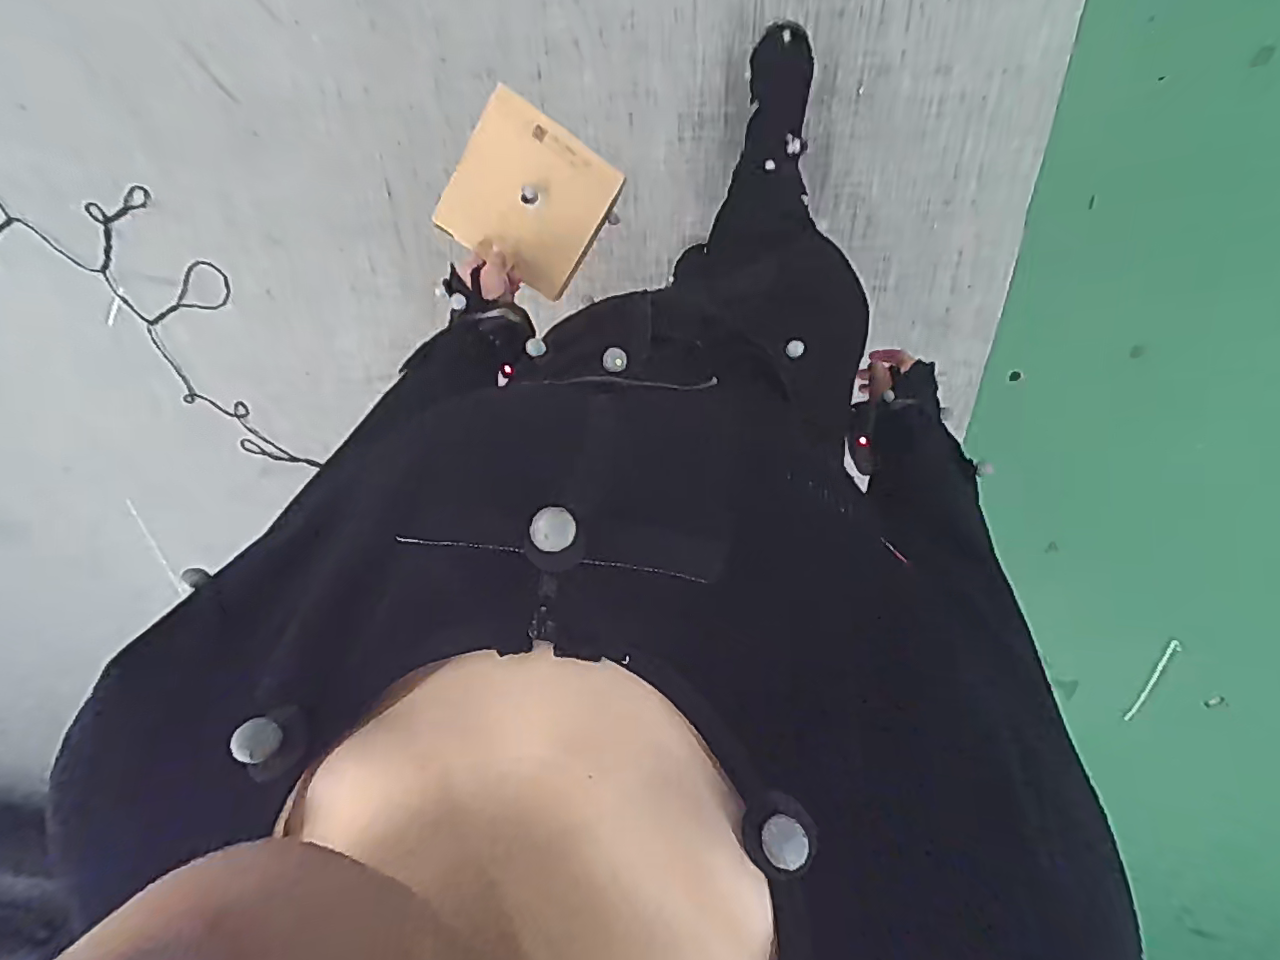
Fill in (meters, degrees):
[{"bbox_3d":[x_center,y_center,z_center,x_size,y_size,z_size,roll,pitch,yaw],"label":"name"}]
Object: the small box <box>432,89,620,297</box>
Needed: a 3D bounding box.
[{"bbox_3d":[-0.138,-0.357,0.701,0.168,0.179,0.176,30,104,-15],"label":"small box"}]
